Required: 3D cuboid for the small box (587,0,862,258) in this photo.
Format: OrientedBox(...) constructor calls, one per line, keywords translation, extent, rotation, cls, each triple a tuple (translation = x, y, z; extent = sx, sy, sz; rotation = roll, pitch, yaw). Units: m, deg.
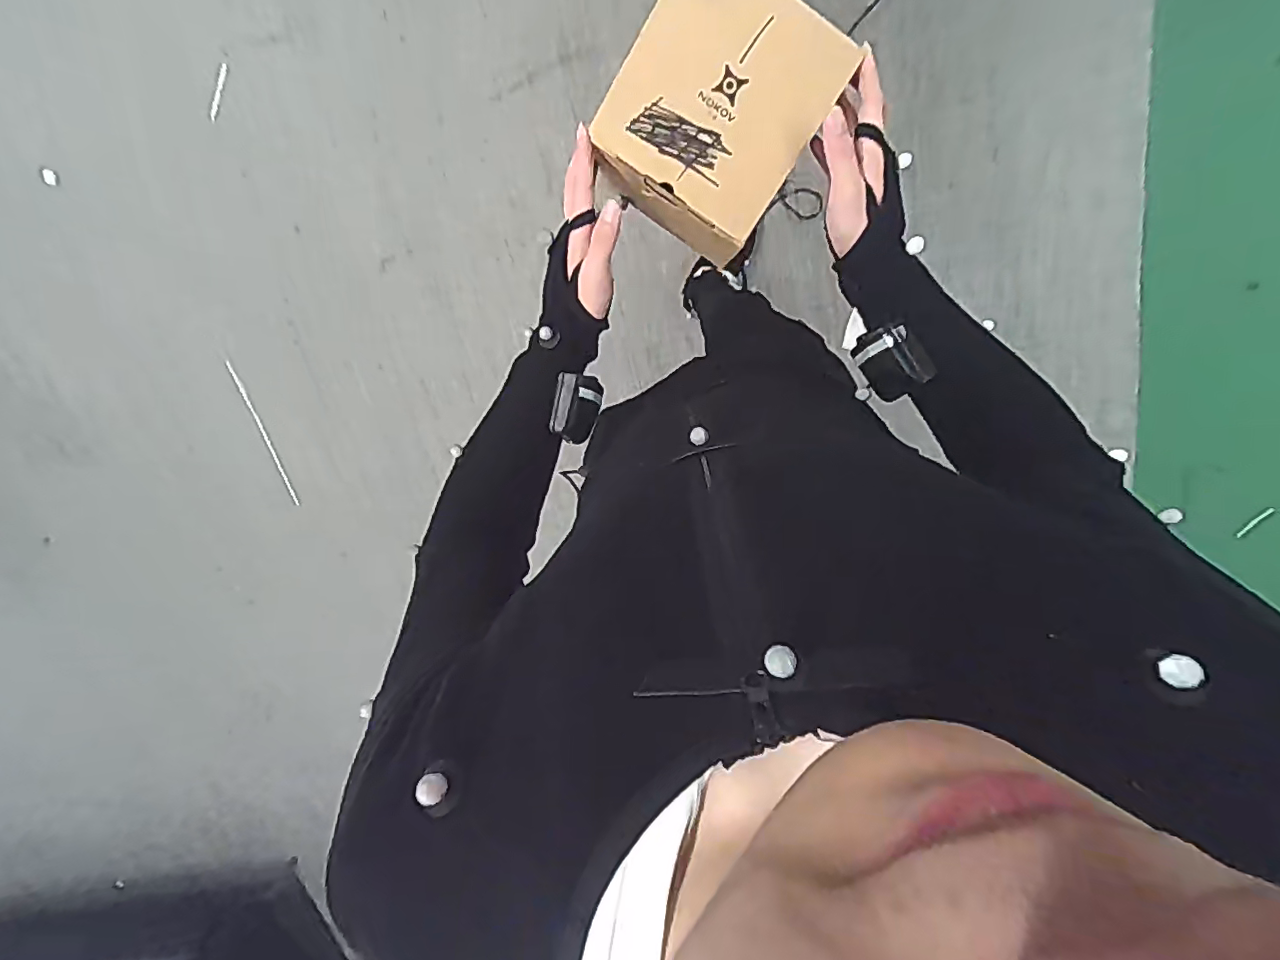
OrientedBox(translation=(0.072, -0.344, 0.526), extent=(0.168, 0.176, 0.179), rotation=(33, 103, -6), cls="small box")
